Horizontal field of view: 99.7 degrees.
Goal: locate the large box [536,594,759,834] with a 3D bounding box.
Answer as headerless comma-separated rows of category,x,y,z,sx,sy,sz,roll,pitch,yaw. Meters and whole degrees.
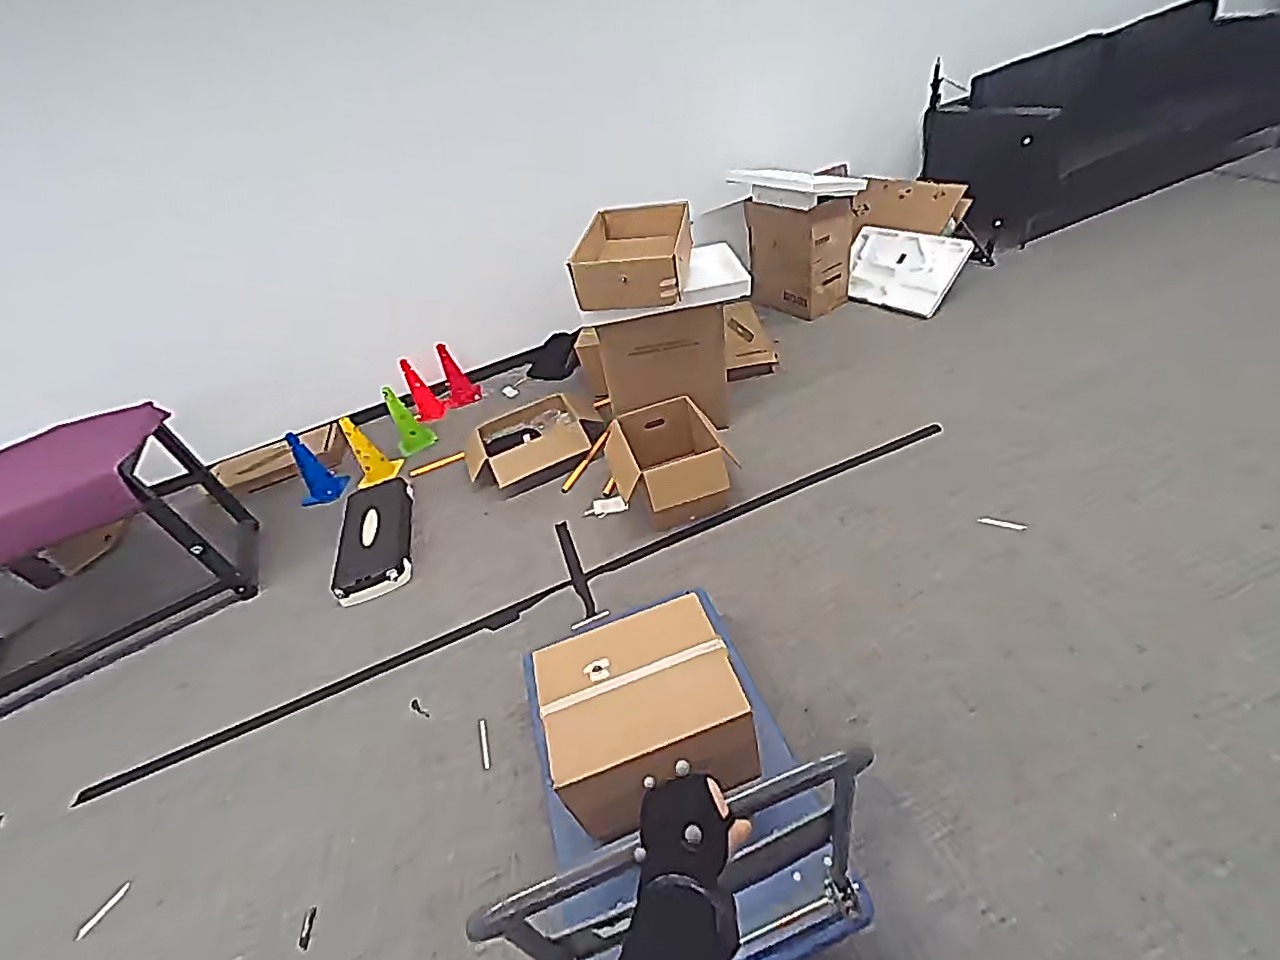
large box,0.019,0.535,1.250,0.408,0.320,0.320,-20,39,-5
